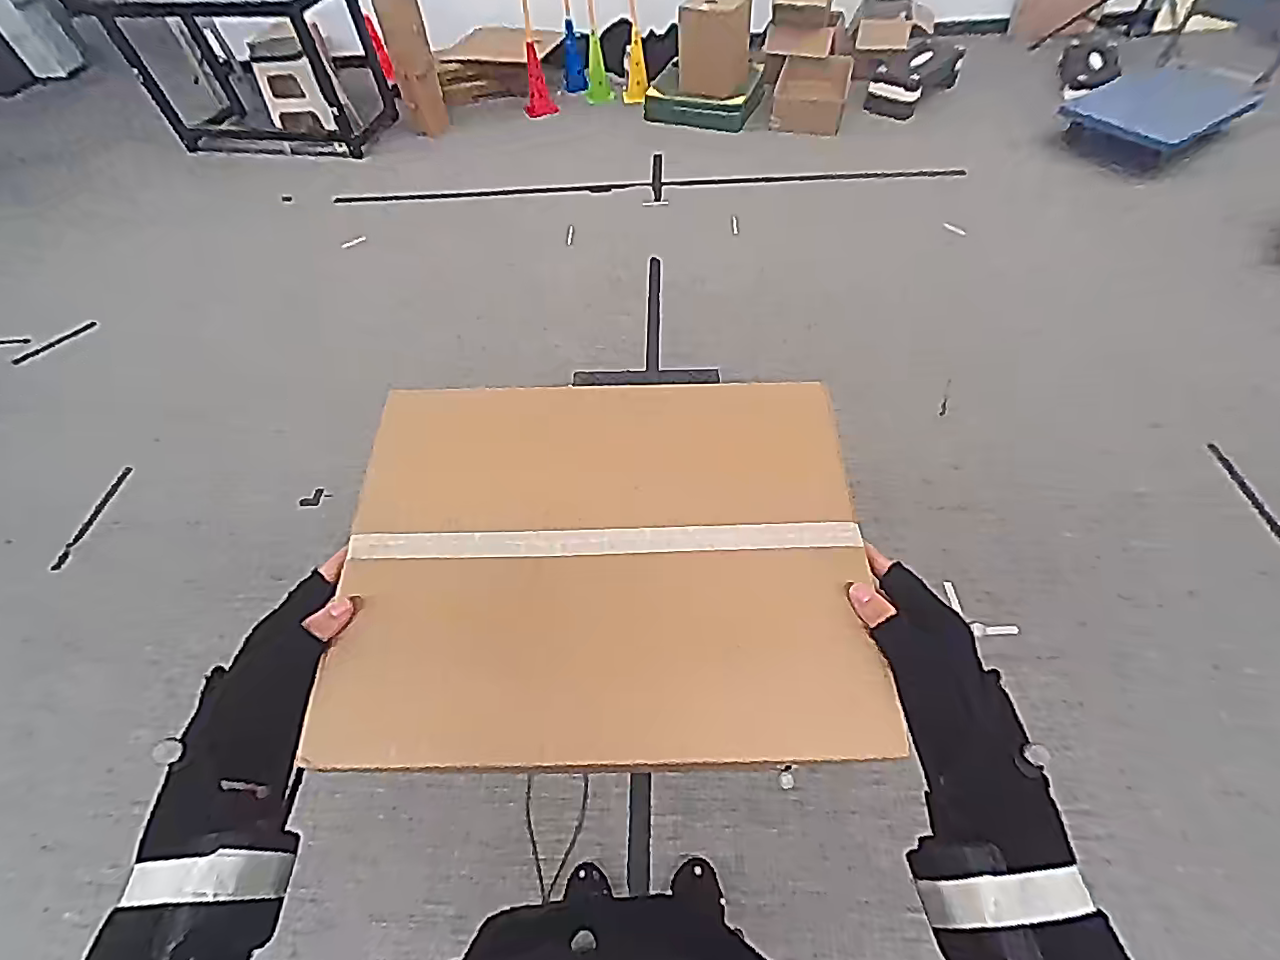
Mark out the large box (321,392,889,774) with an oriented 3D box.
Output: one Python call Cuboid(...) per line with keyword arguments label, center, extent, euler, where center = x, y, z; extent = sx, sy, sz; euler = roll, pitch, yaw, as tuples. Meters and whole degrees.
Cuboid(label="large box", center=(-0.024, 0.128, 0.573), extent=(0.408, 0.320, 0.320), euler=(-1, 61, 0))
